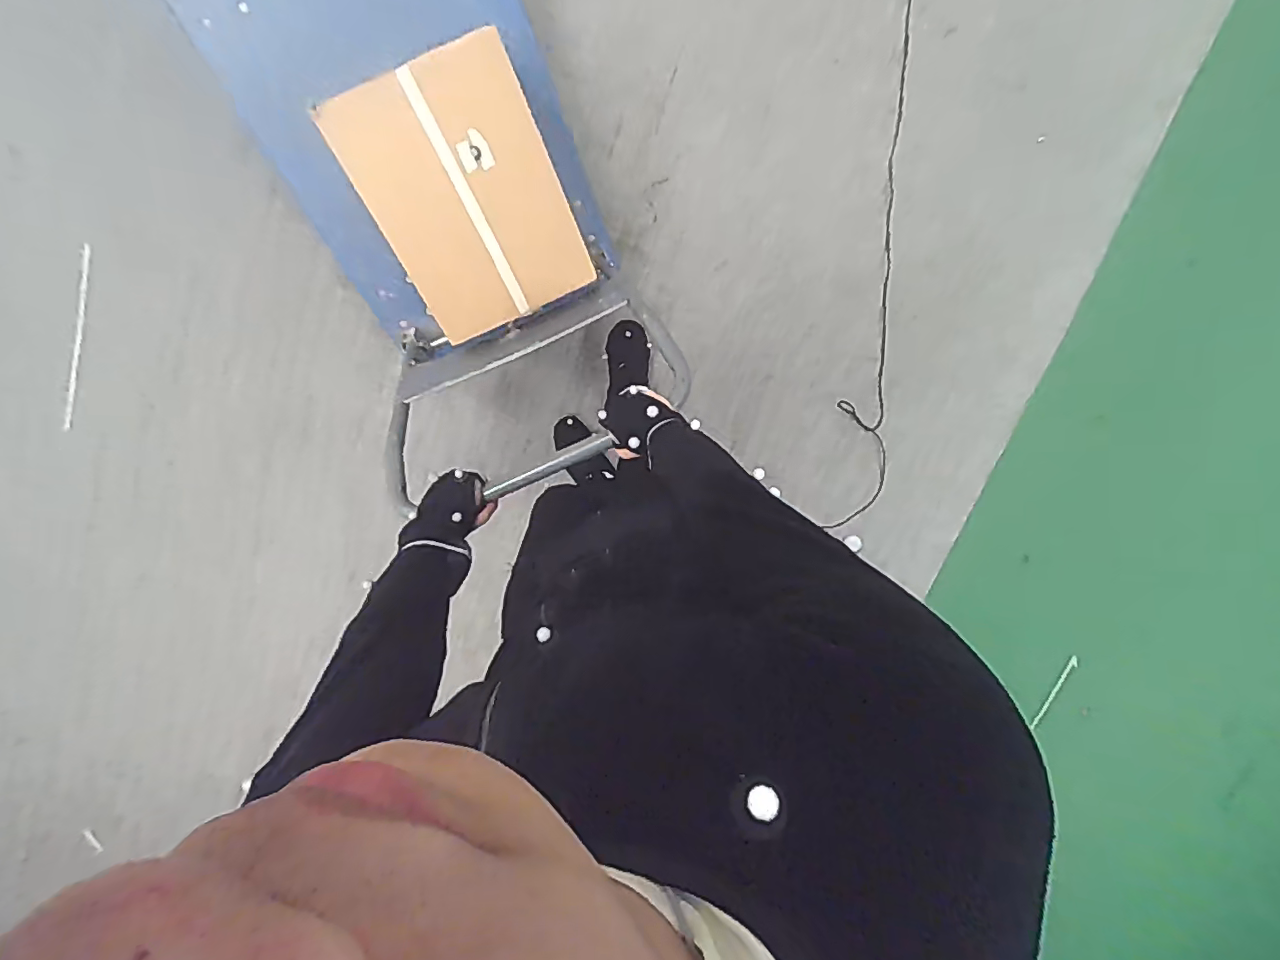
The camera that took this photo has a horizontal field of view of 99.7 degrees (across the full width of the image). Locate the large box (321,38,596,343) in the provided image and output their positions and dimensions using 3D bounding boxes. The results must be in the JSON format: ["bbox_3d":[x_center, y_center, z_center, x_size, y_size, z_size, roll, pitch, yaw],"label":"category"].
[{"bbox_3d":[-0.322,-0.553,1.072,0.320,0.320,0.408,-25,124,0],"label":"large box"}]
